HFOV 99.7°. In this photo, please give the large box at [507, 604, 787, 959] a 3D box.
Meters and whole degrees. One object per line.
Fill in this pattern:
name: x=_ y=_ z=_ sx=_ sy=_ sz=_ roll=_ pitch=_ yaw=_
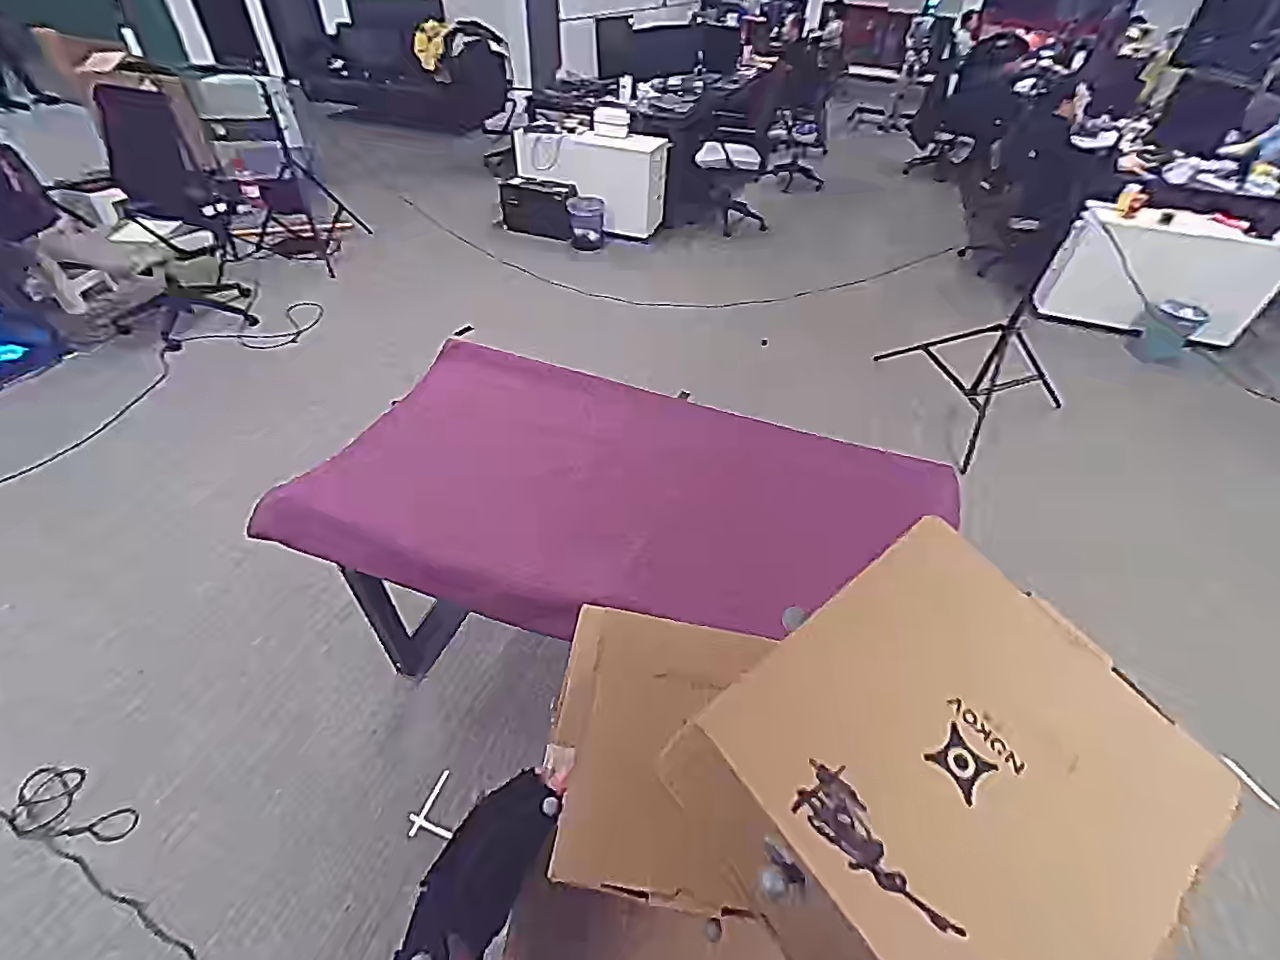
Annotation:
large box: x=0.089 y=0.378 z=0.628 sx=0.408 sy=0.320 sz=0.320 roll=10 pitch=52 yaw=0
